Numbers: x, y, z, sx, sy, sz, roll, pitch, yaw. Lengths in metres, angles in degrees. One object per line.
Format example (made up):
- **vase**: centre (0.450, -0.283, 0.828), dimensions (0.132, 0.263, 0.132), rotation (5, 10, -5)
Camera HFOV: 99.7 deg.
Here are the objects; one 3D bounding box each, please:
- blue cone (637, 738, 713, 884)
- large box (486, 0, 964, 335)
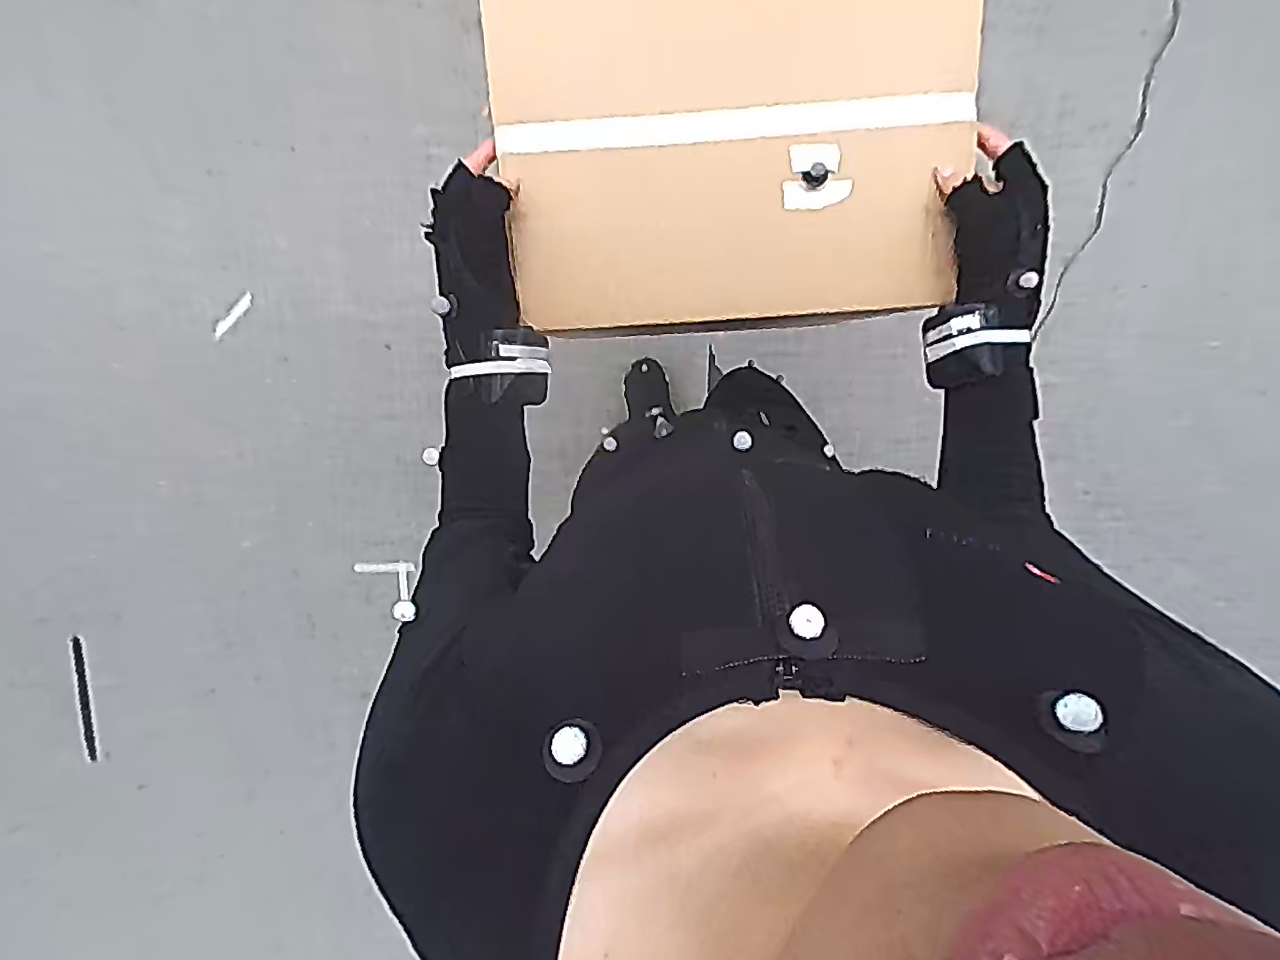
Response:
- **blue cone**: centre (0.092, 0.877, 1.418), dimensions (0.193, 0.380, 0.192), rotation (22, 98, 1)
- **large box**: centre (0.074, -0.343, 0.615), dimensions (0.408, 0.320, 0.320), rotation (-3, 103, 0)
